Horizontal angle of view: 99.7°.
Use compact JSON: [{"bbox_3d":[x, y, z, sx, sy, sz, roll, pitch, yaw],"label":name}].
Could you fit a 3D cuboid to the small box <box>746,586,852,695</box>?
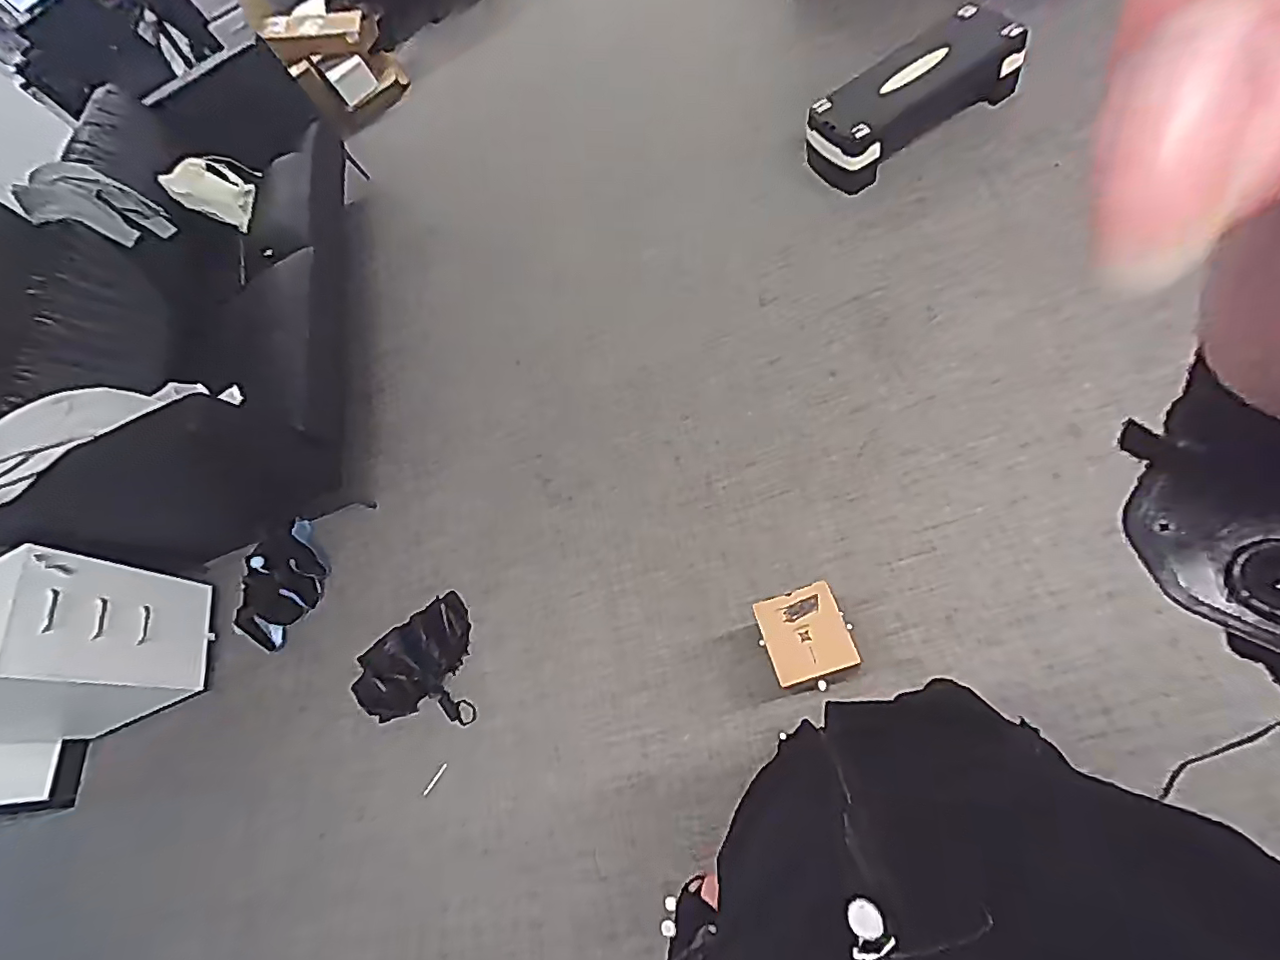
[{"bbox_3d":[0.343,0.355,1.176,0.168,0.176,0.179,-21,62,10],"label":"small box"}]
